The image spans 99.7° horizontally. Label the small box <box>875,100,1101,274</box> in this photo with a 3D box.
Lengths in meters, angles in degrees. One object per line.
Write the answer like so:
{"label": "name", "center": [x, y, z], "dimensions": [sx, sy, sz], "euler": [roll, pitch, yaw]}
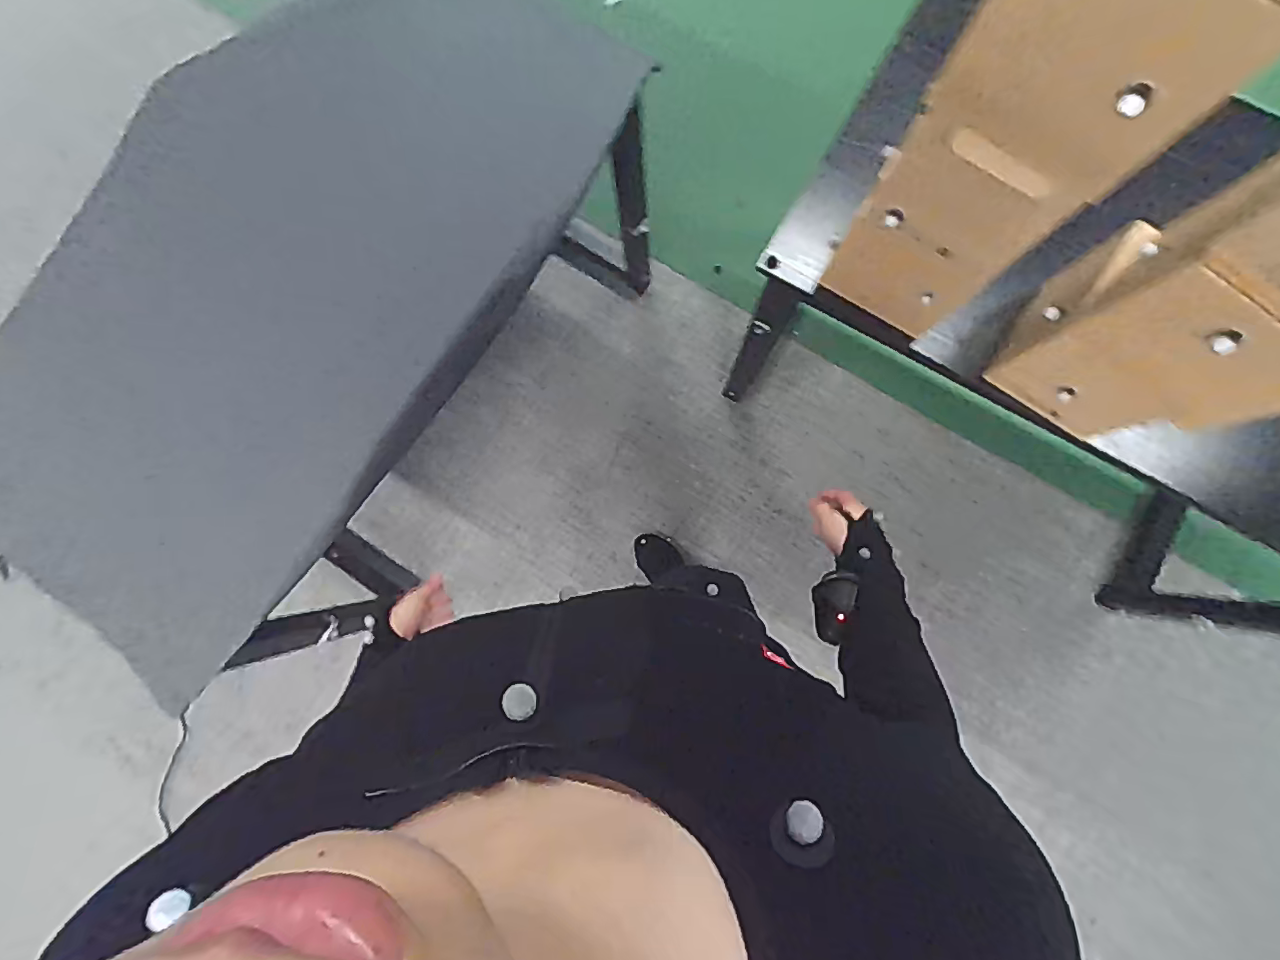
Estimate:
{"label": "small box", "center": [0.377, -0.354, 0.566], "dimensions": [0.168, 0.176, 0.179], "euler": [34, 85, 5]}

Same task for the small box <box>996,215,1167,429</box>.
{"label": "small box", "center": [0.610, -0.188, 0.700], "dimensions": [0.168, 0.176, 0.179], "euler": [35, 86, 6]}

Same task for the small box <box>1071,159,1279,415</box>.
{"label": "small box", "center": [0.602, -0.182, 0.537], "dimensions": [0.179, 0.176, 0.168], "euler": [43, 87, 7]}

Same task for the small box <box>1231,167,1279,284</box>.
{"label": "small box", "center": [0.597, -0.217, 0.376], "dimensions": [0.179, 0.176, 0.168], "euler": [-44, 82, -2]}

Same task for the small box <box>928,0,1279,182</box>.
{"label": "small box", "center": [0.366, -0.366, 0.404], "dimensions": [0.179, 0.176, 0.168], "euler": [34, 84, 6]}
